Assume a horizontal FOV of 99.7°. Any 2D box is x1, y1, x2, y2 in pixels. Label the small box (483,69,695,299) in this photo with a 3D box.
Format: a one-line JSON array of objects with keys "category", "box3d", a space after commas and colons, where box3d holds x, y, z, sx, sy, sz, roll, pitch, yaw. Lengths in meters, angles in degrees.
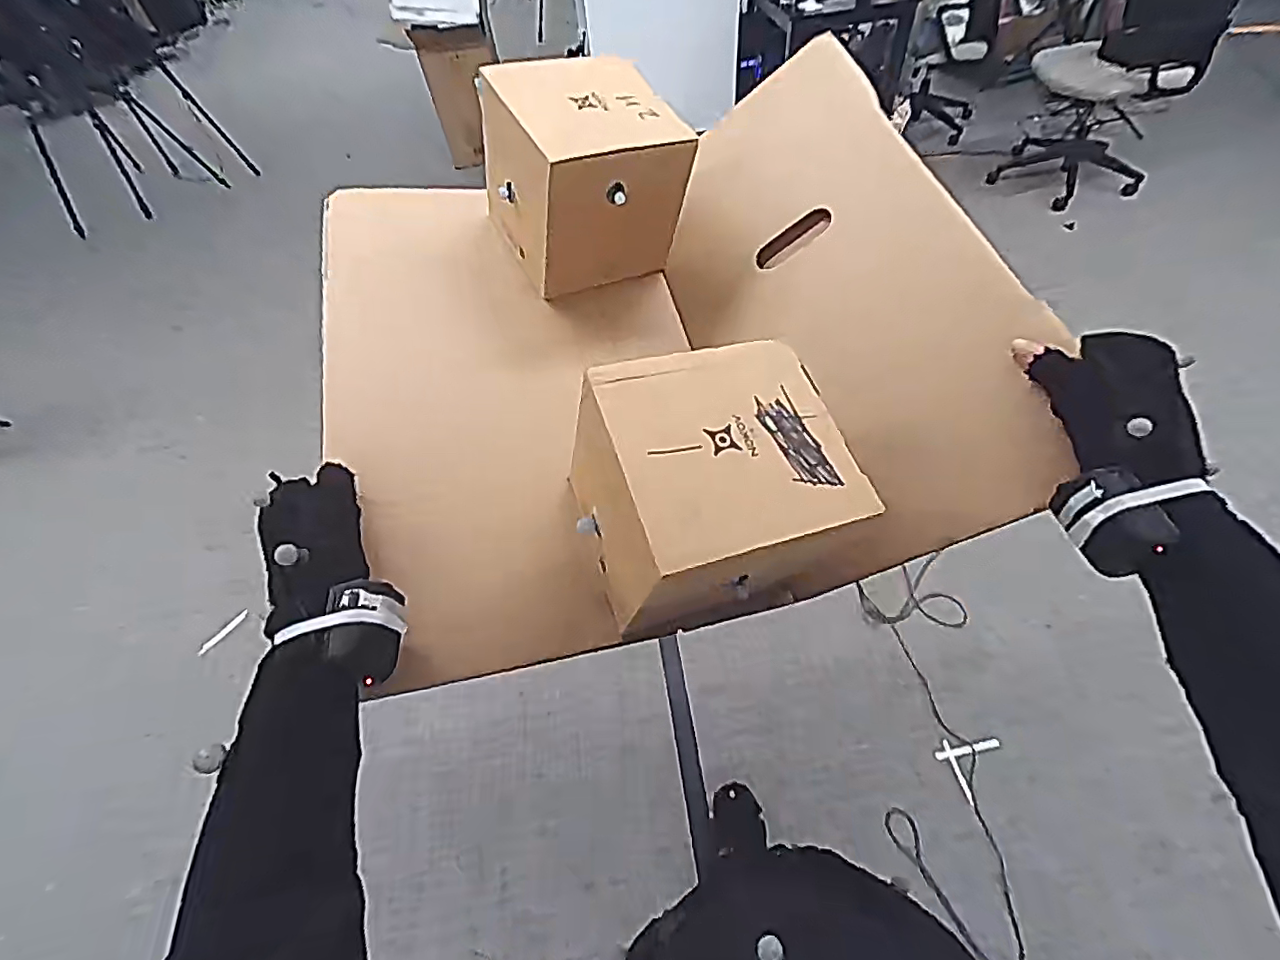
[{"category": "small box", "box3d": [-0.066, -0.339, 0.633, 0.179, 0.176, 0.168, -23, 68, -23]}]
